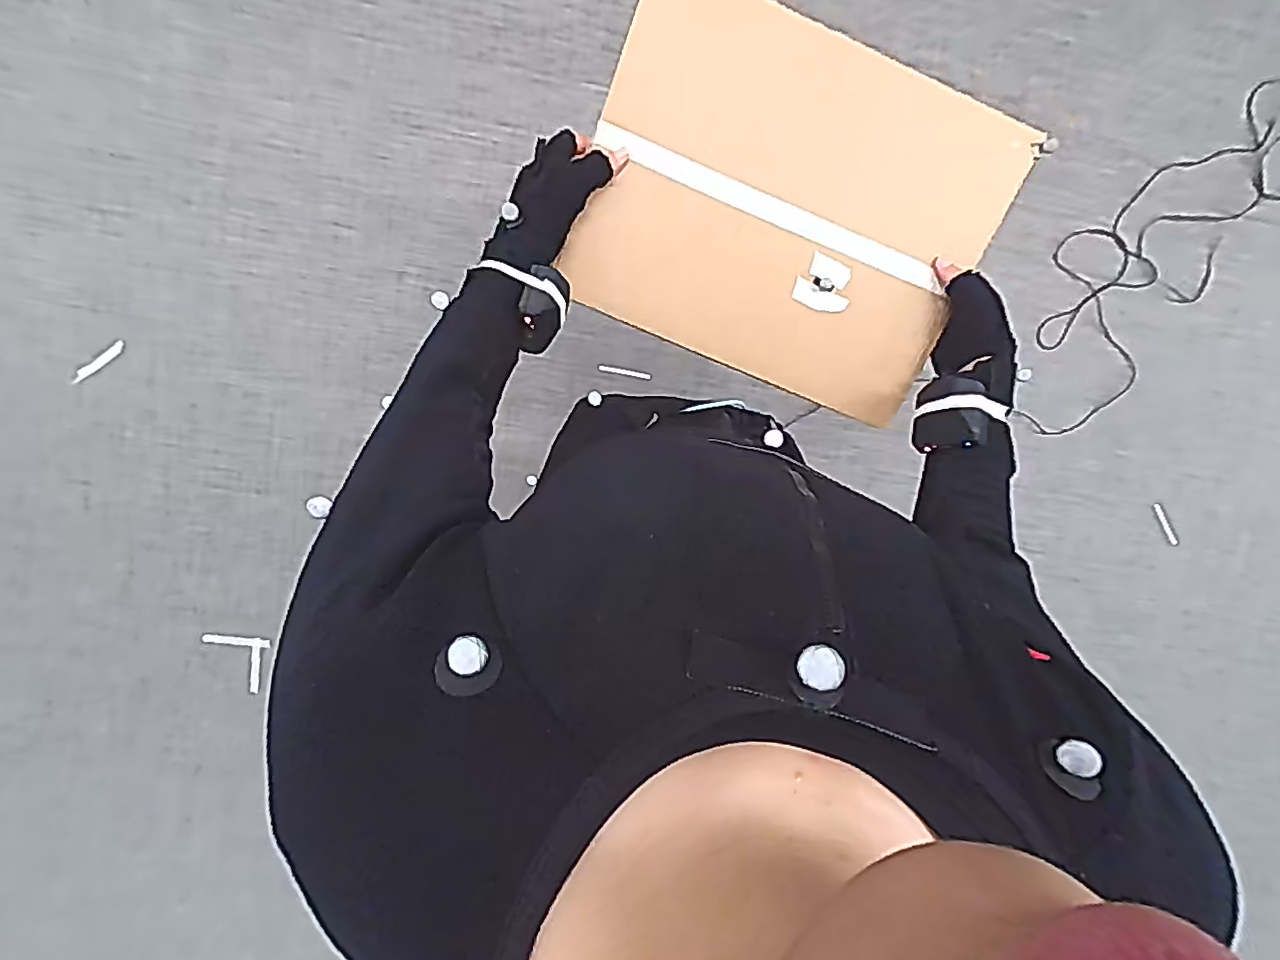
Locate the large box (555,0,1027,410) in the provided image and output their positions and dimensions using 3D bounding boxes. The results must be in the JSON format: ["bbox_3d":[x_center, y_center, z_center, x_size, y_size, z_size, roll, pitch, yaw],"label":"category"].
[{"bbox_3d":[0.144,-0.324,0.695,0.408,0.320,0.320,21,107,-6],"label":"large box"}]
